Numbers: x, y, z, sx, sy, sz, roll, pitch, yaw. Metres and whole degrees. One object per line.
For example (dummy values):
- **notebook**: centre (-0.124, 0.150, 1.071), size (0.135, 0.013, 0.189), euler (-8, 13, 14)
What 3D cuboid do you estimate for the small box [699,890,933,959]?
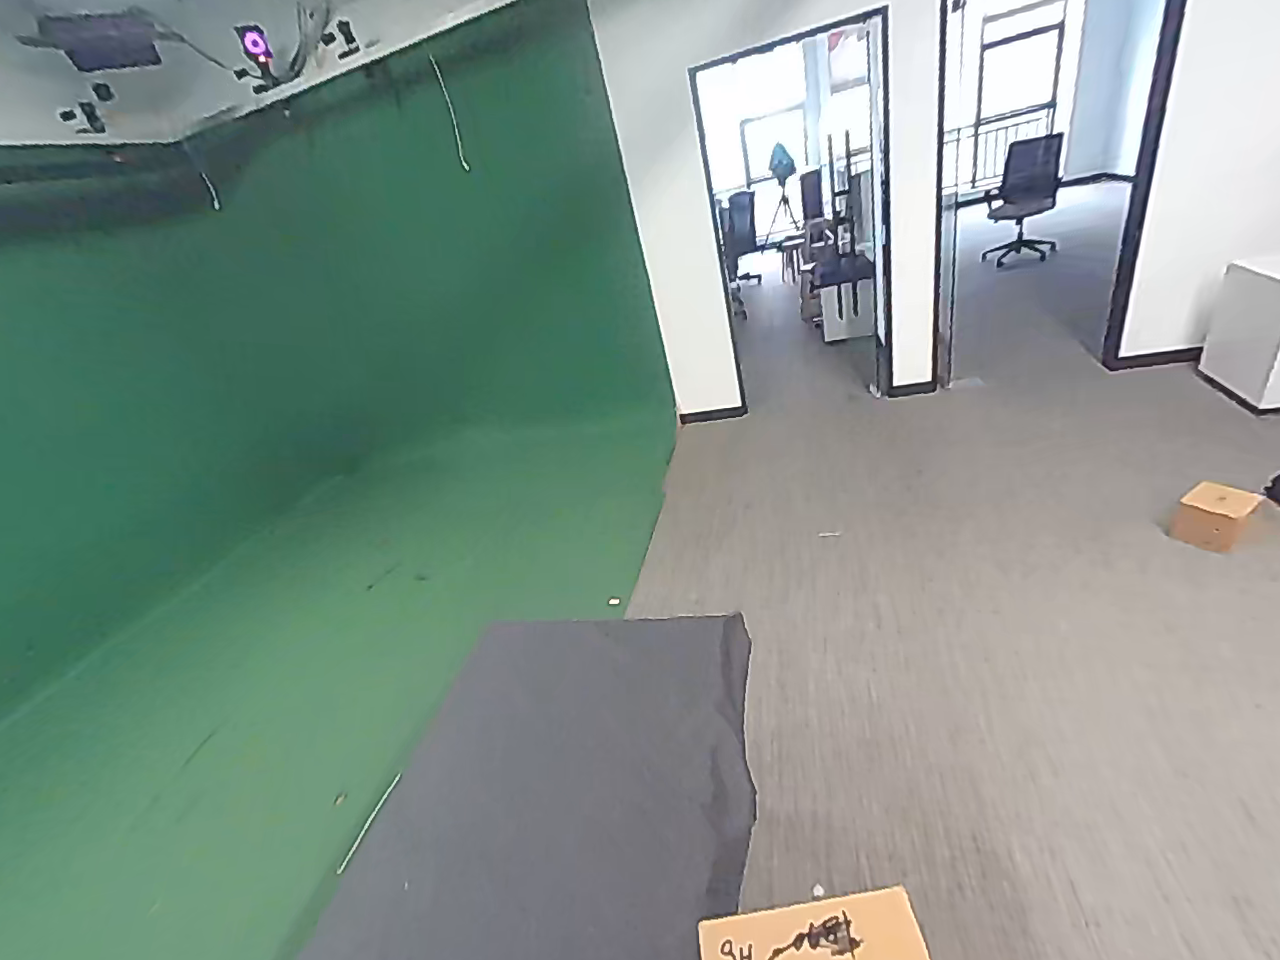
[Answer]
- **small box**: centre (0.152, 0.442, 0.407), size (0.168, 0.176, 0.179), euler (-14, 41, 6)
